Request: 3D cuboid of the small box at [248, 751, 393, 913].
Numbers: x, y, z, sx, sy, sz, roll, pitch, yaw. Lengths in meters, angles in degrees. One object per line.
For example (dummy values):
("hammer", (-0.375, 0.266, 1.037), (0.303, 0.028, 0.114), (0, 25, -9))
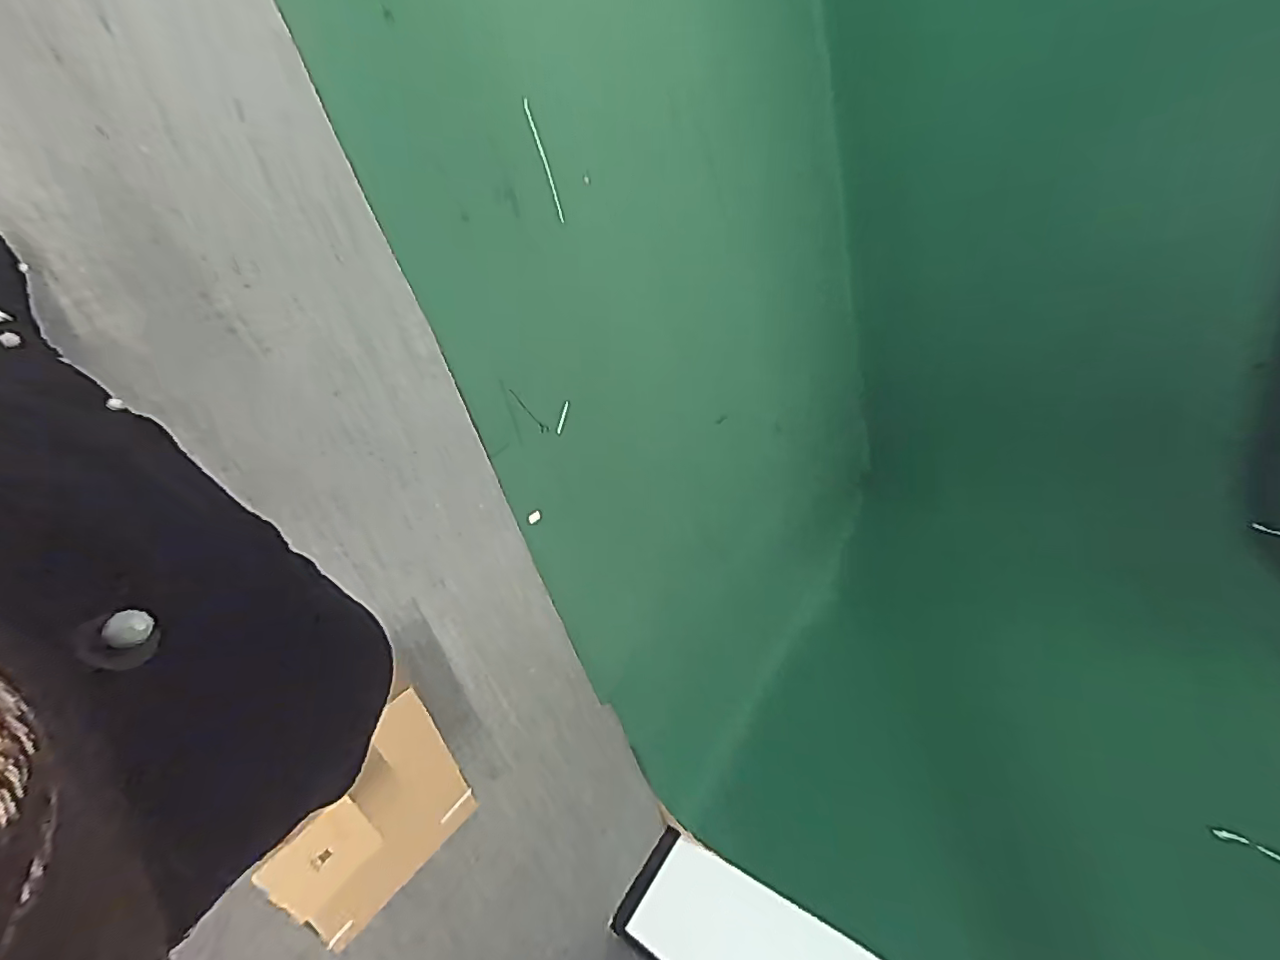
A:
("small box", (-0.641, 0.689, 1.078), (0.179, 0.176, 0.168), (-40, 125, -38))
